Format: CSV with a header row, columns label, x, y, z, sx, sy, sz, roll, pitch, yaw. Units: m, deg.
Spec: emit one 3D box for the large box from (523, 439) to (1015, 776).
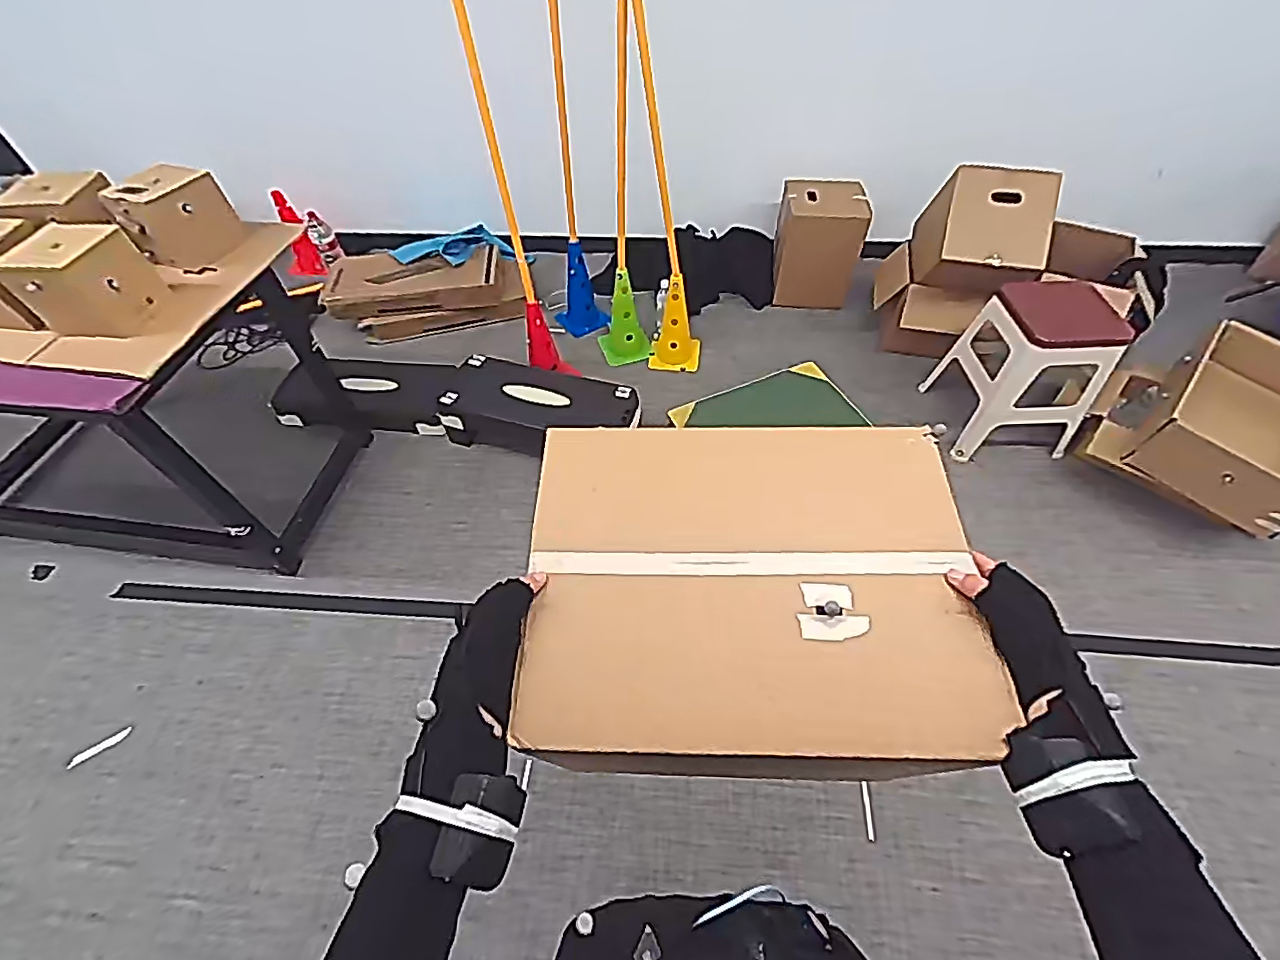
label,x,y,z,sx,sy,sz,roll,pitch,yaw
large box,0.107,0.164,0.636,0.408,0.320,0.320,0,60,3
